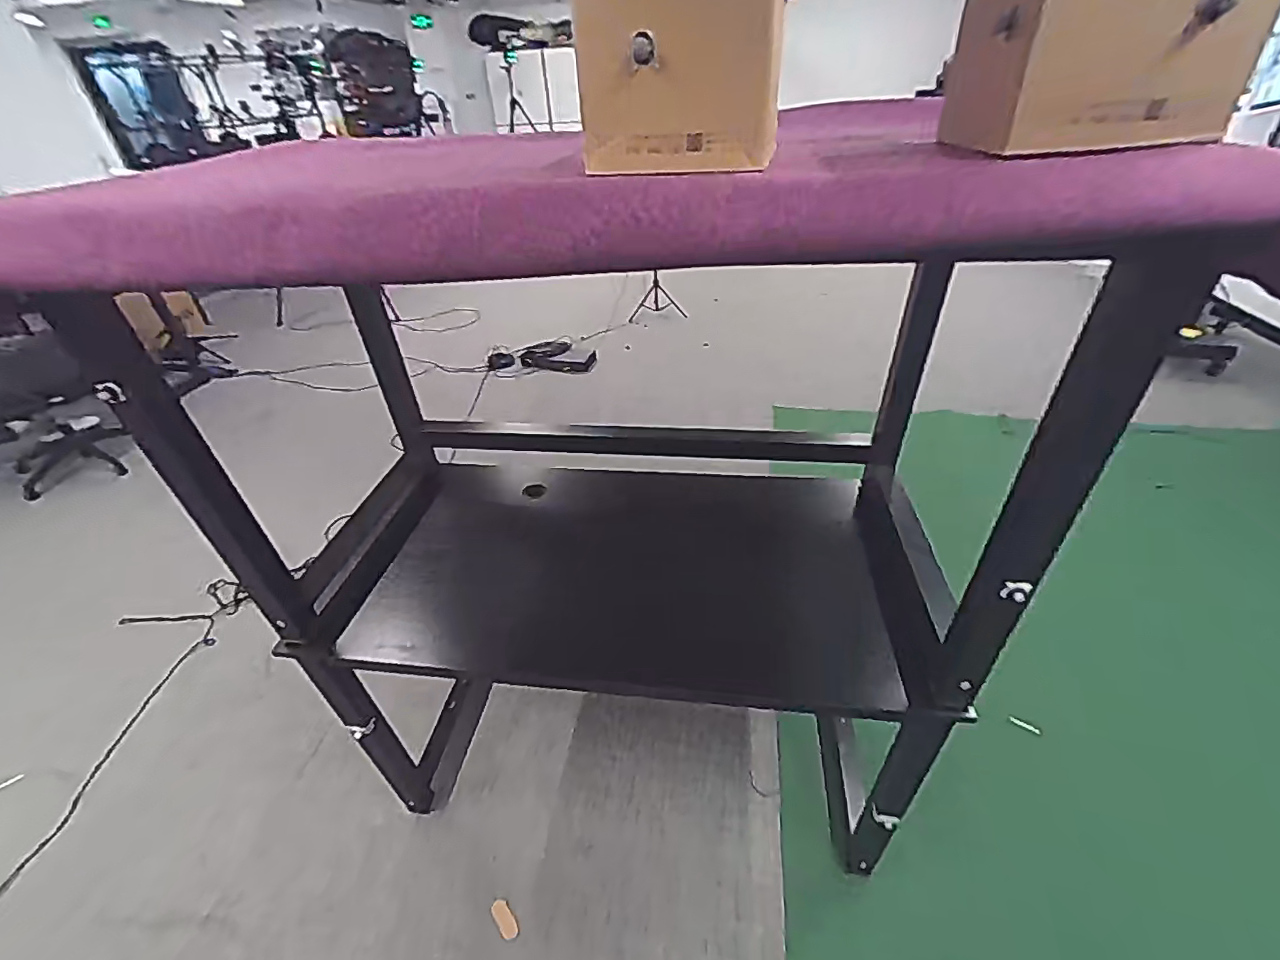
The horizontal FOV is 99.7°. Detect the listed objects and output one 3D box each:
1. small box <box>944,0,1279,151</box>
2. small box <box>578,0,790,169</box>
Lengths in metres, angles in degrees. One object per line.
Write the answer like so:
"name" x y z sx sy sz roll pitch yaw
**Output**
"small box" 0.389 -0.383 0.461 0.168 0.176 0.179 2 35 7
"small box" 0.050 -0.394 0.505 0.168 0.176 0.179 6 36 13
